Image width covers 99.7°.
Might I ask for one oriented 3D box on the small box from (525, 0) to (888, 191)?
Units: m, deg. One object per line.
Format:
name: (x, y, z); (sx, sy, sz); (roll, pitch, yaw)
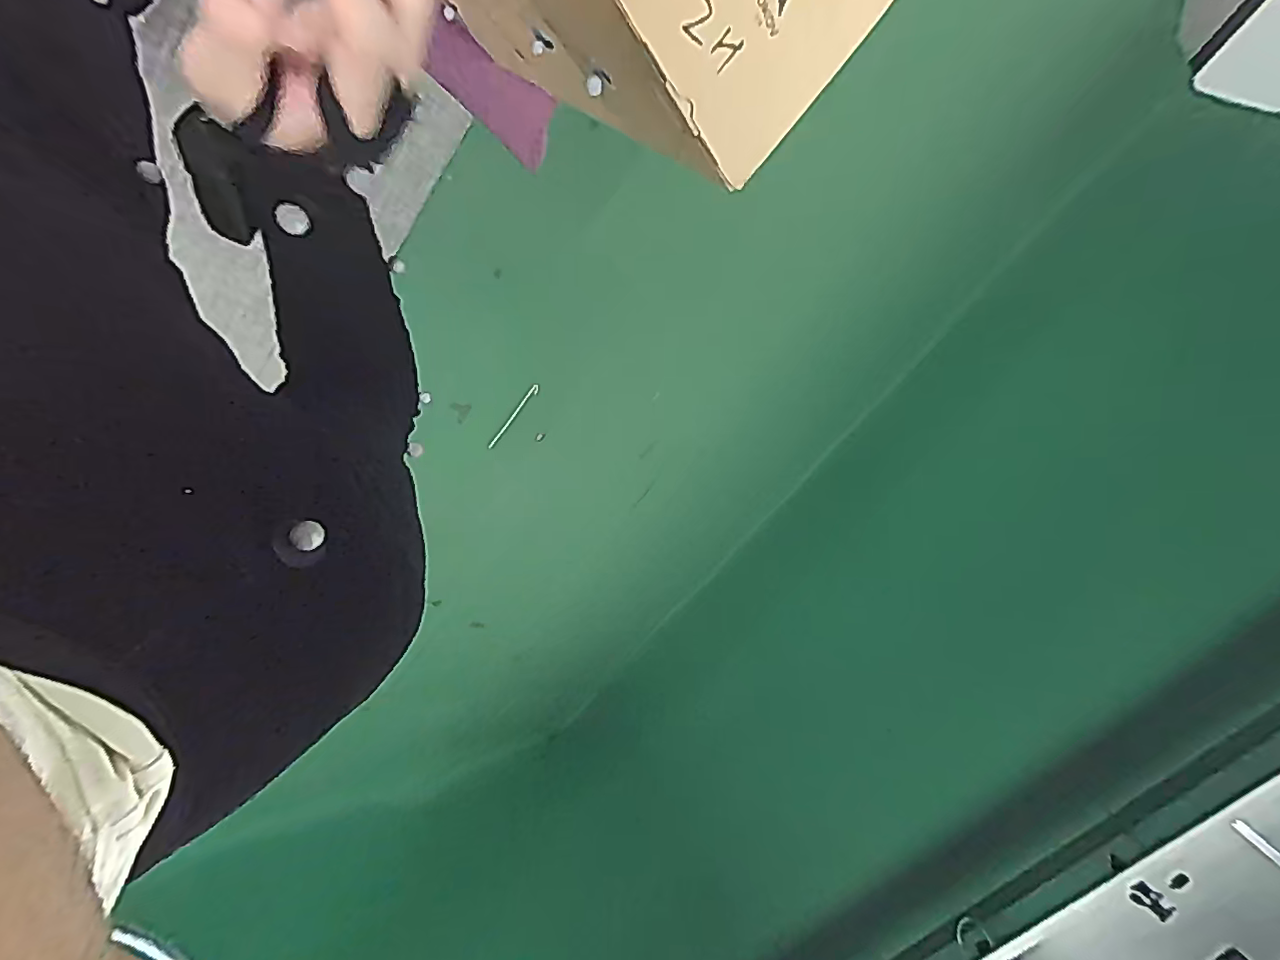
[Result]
small box: (0.040, -0.360, 0.387); (0.179, 0.176, 0.168); (-47, 145, 12)
